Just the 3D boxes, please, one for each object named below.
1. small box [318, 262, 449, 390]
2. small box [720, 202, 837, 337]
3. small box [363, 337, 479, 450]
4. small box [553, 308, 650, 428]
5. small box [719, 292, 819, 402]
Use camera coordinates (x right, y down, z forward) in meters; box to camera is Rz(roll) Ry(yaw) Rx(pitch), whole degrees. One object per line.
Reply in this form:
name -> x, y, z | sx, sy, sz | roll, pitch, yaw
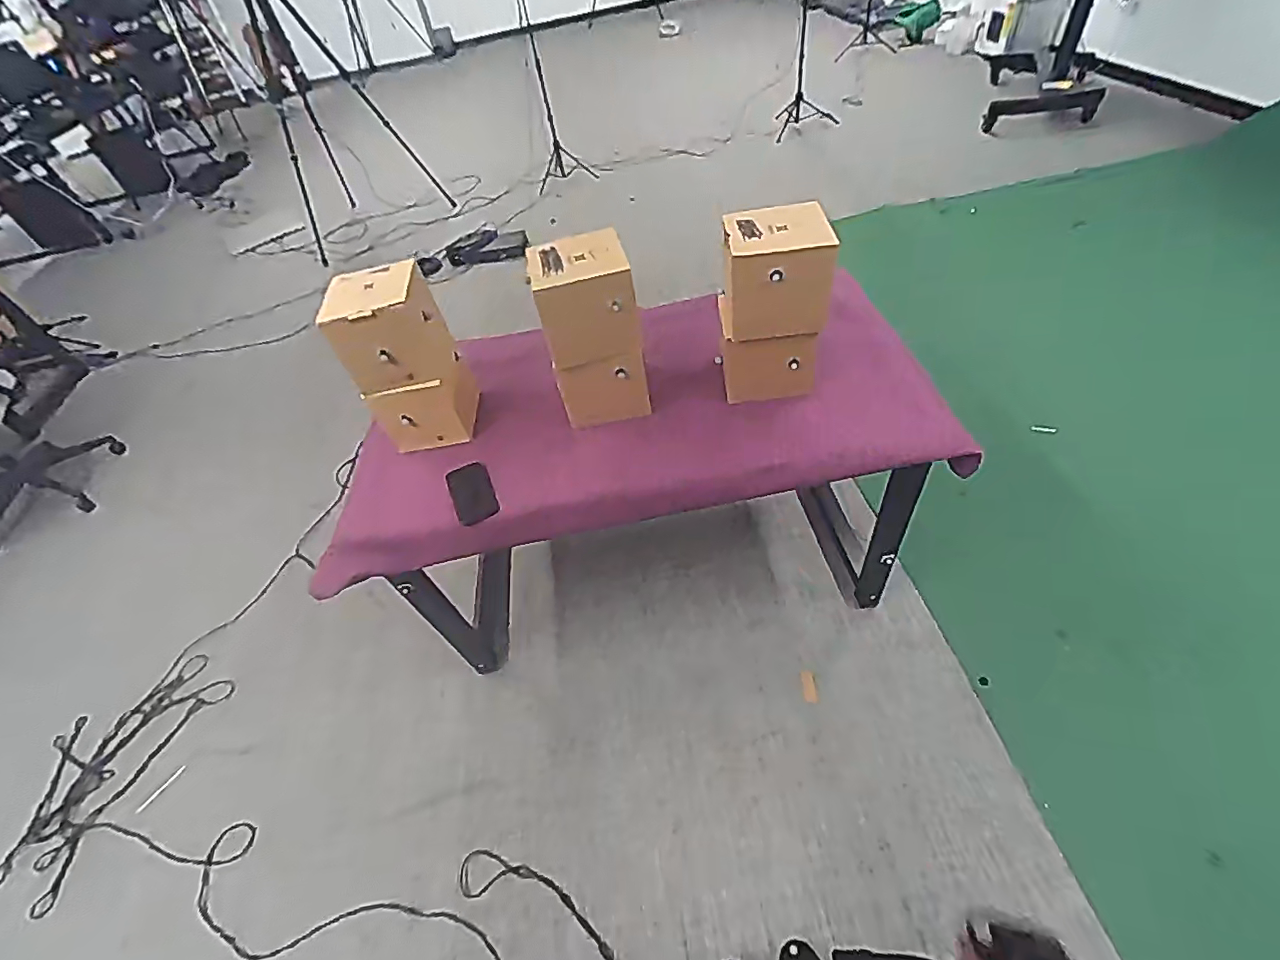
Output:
small box -> -0.489, -0.294, 1.060 | 0.168, 0.176, 0.179 | -13, 49, -1
small box -> 0.244, -0.378, 0.985 | 0.179, 0.176, 0.168 | -5, 48, 6
small box -> -0.463, -0.181, 1.177 | 0.168, 0.176, 0.179 | -10, 48, 3
small box -> -0.076, -0.234, 1.143 | 0.179, 0.176, 0.168 | -10, 48, 3
small box -> 0.259, -0.281, 1.118 | 0.179, 0.176, 0.168 | -6, 48, 8
